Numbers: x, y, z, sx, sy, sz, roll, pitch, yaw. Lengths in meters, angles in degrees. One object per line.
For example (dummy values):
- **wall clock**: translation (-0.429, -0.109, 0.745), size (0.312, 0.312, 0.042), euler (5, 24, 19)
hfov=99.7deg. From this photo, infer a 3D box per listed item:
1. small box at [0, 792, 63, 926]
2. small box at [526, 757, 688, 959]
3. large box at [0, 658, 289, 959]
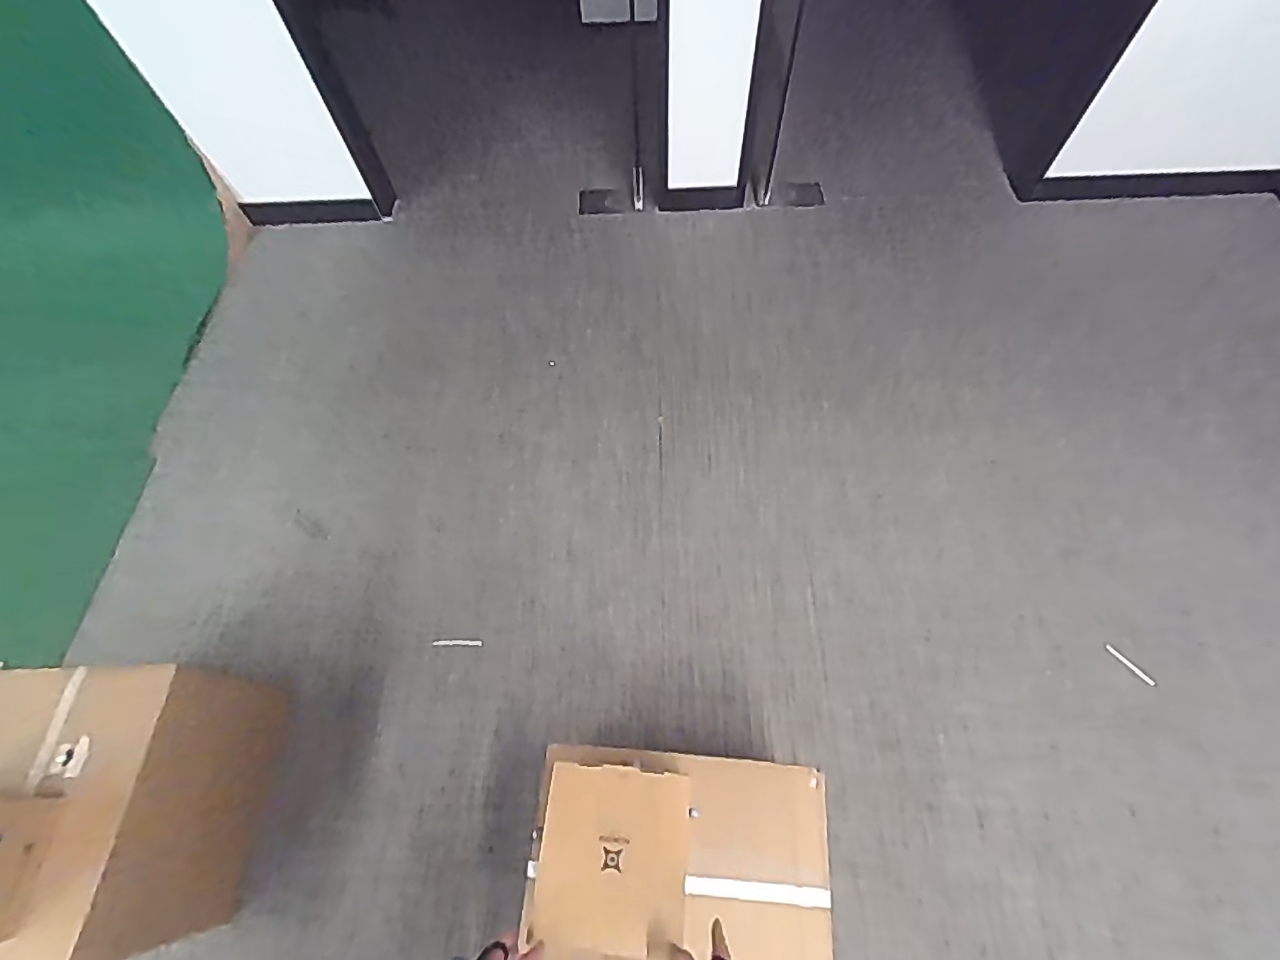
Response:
- **small box**: translation (-0.920, 0.496, 0.686), size (0.179, 0.176, 0.168), euler (-3, 61, 2)
- **small box**: translation (-0.029, 0.455, 0.673), size (0.168, 0.176, 0.179), euler (4, 60, 4)
- **large box**: translation (-0.896, 0.548, 0.934), size (0.320, 0.320, 0.408), euler (-2, 61, 1)
